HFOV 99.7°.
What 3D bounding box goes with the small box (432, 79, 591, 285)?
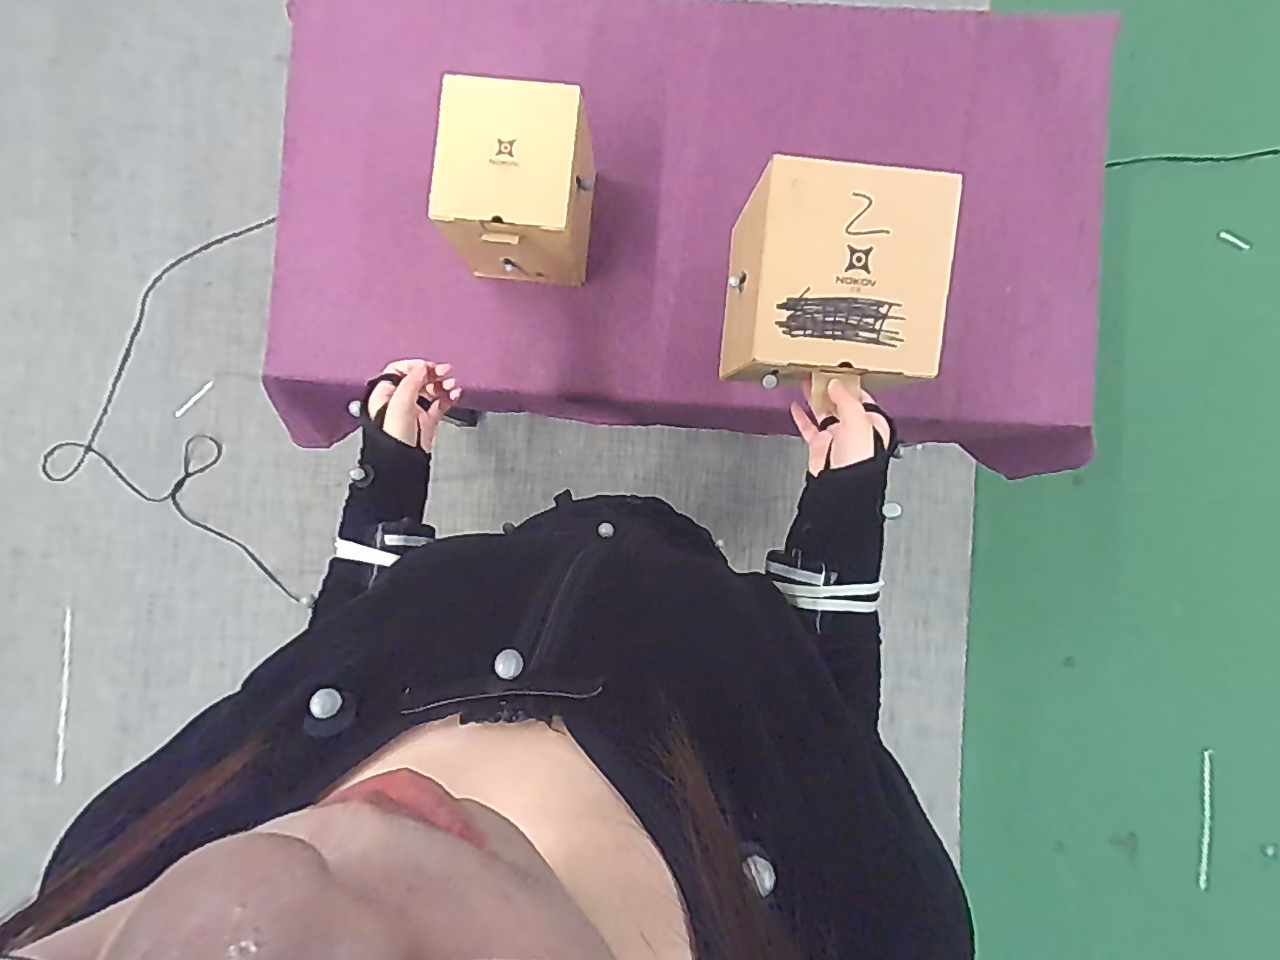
[{"bbox_3d":[-0.160,-0.389,0.732,0.168,0.176,0.179,6,89,1],"label":"small box"}]
